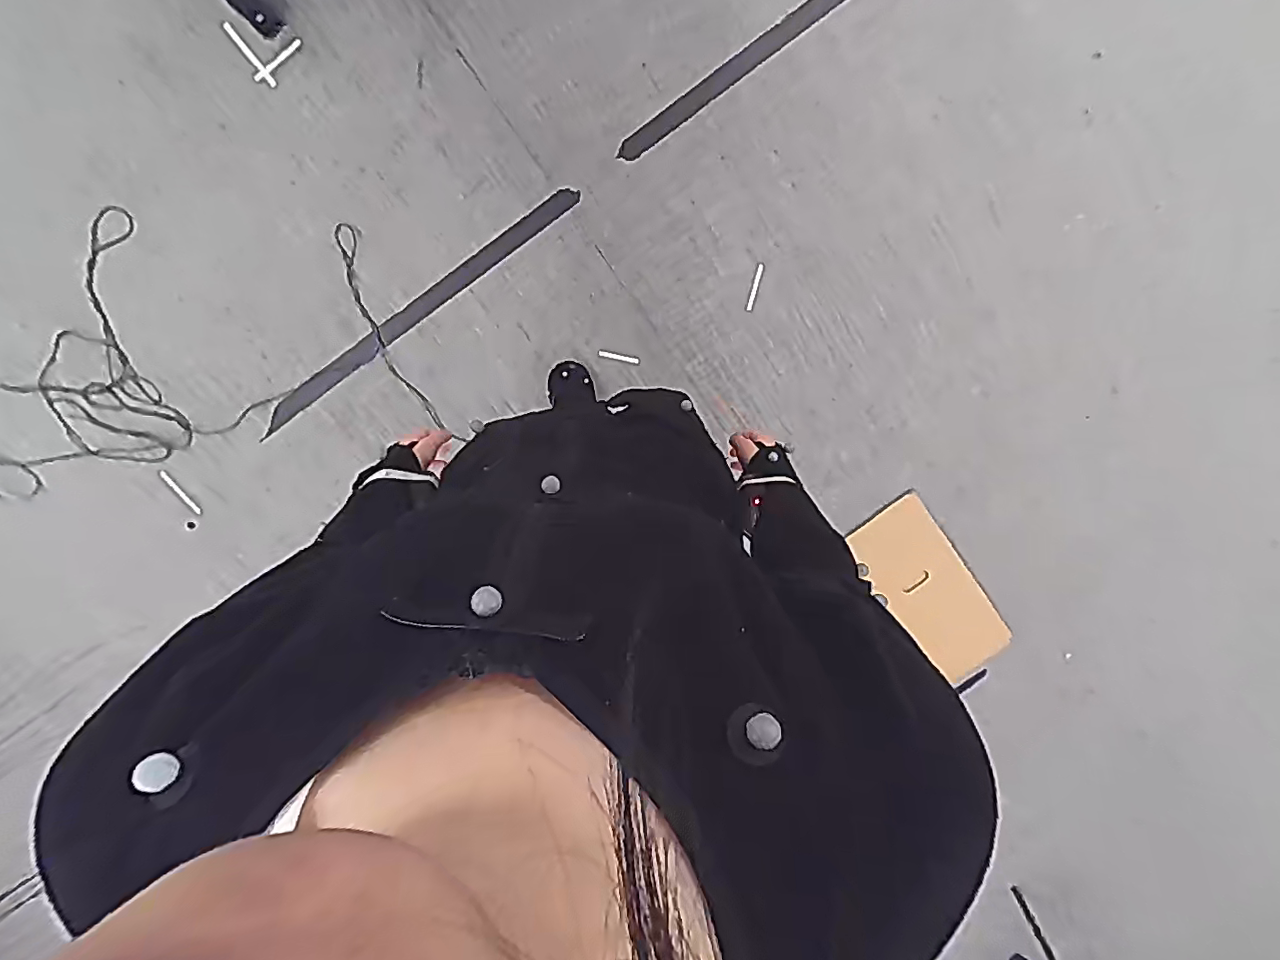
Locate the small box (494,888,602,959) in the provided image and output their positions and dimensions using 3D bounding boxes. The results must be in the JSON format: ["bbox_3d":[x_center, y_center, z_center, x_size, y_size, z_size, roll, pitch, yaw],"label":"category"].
[{"bbox_3d":[-0.169,0.860,0.942,0.179,0.176,0.168,13,101,-5],"label":"small box"}]
